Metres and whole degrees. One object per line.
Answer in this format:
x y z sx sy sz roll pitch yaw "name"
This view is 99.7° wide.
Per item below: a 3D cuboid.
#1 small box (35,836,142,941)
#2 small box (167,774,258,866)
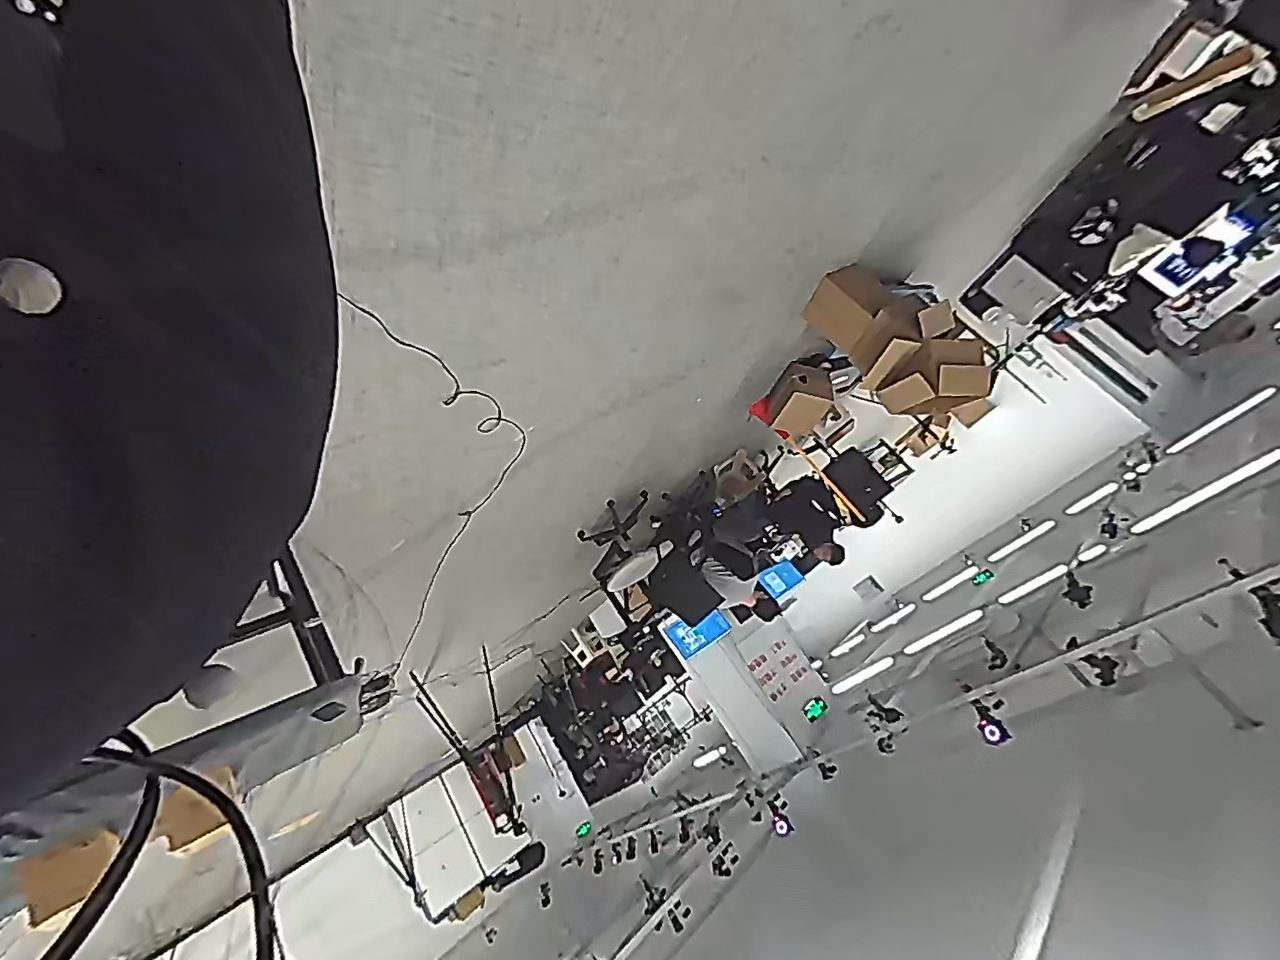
-1.550 1.146 1.523 0.168 0.176 0.179 -20 154 -41 "small box"
-1.346 1.070 1.709 0.179 0.176 0.168 -22 154 -39 "small box"
